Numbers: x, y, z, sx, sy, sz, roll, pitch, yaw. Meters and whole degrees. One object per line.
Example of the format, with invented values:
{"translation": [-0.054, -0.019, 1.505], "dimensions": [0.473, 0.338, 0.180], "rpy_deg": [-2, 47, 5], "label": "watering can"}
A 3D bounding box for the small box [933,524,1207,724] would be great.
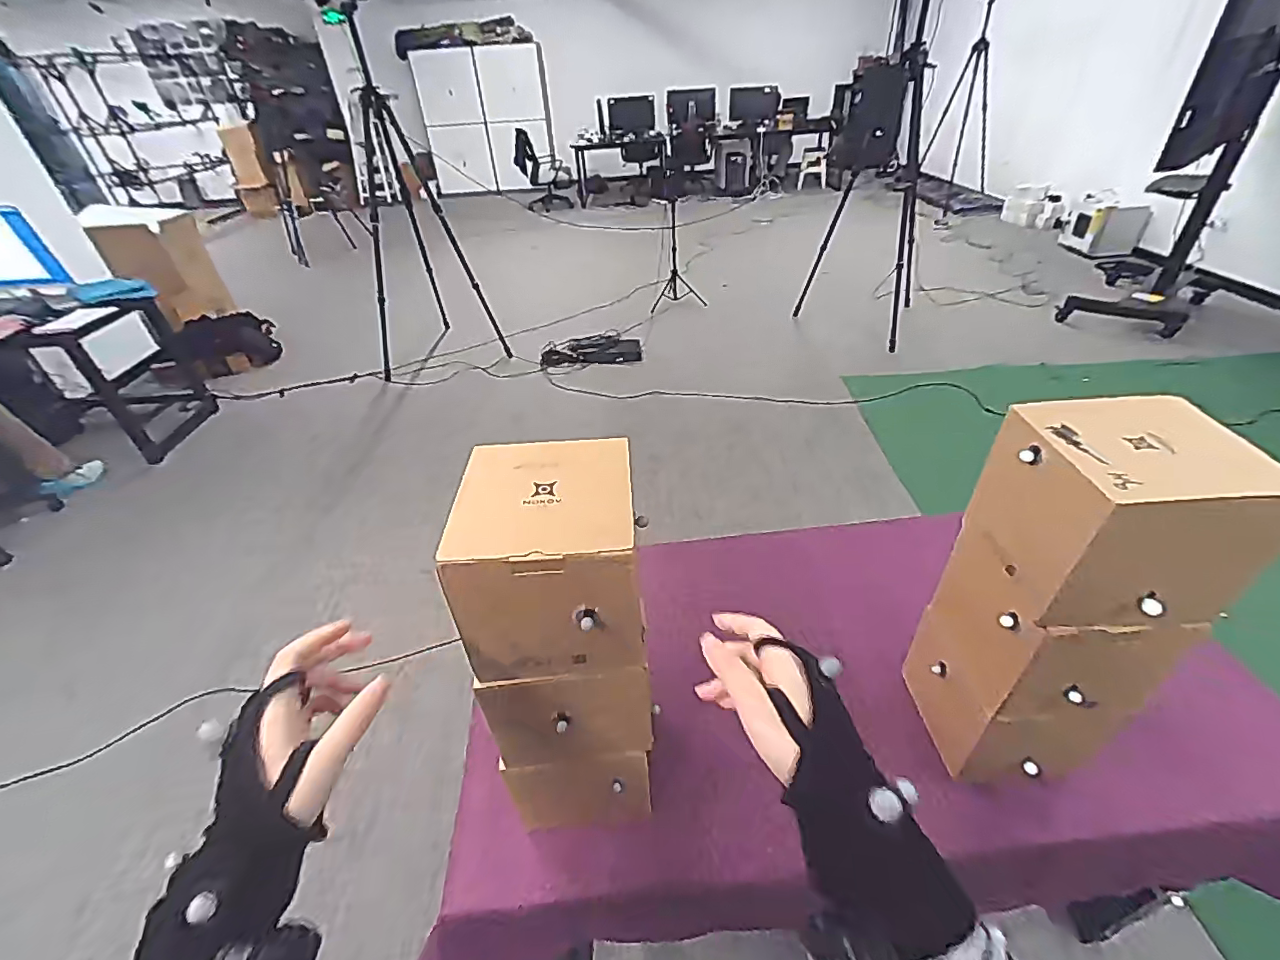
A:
{"translation": [0.489, 0.168, 0.657], "dimensions": [0.168, 0.176, 0.179], "rpy_deg": [-4, 38, 1], "label": "small box"}

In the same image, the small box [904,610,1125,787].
{"translation": [0.496, 0.298, 0.754], "dimensions": [0.168, 0.176, 0.179], "rpy_deg": [-4, 37, 1], "label": "small box"}

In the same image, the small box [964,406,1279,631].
{"translation": [0.479, 0.039, 0.555], "dimensions": [0.179, 0.176, 0.168], "rpy_deg": [-2, 37, 1], "label": "small box"}

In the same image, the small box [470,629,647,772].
{"translation": [-0.085, 0.219, 0.642], "dimensions": [0.179, 0.176, 0.168], "rpy_deg": [-6, 37, -3], "label": "small box"}

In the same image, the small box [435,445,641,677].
{"translation": [-0.087, 0.084, 0.551], "dimensions": [0.168, 0.176, 0.179], "rpy_deg": [-3, 36, -1], "label": "small box"}
